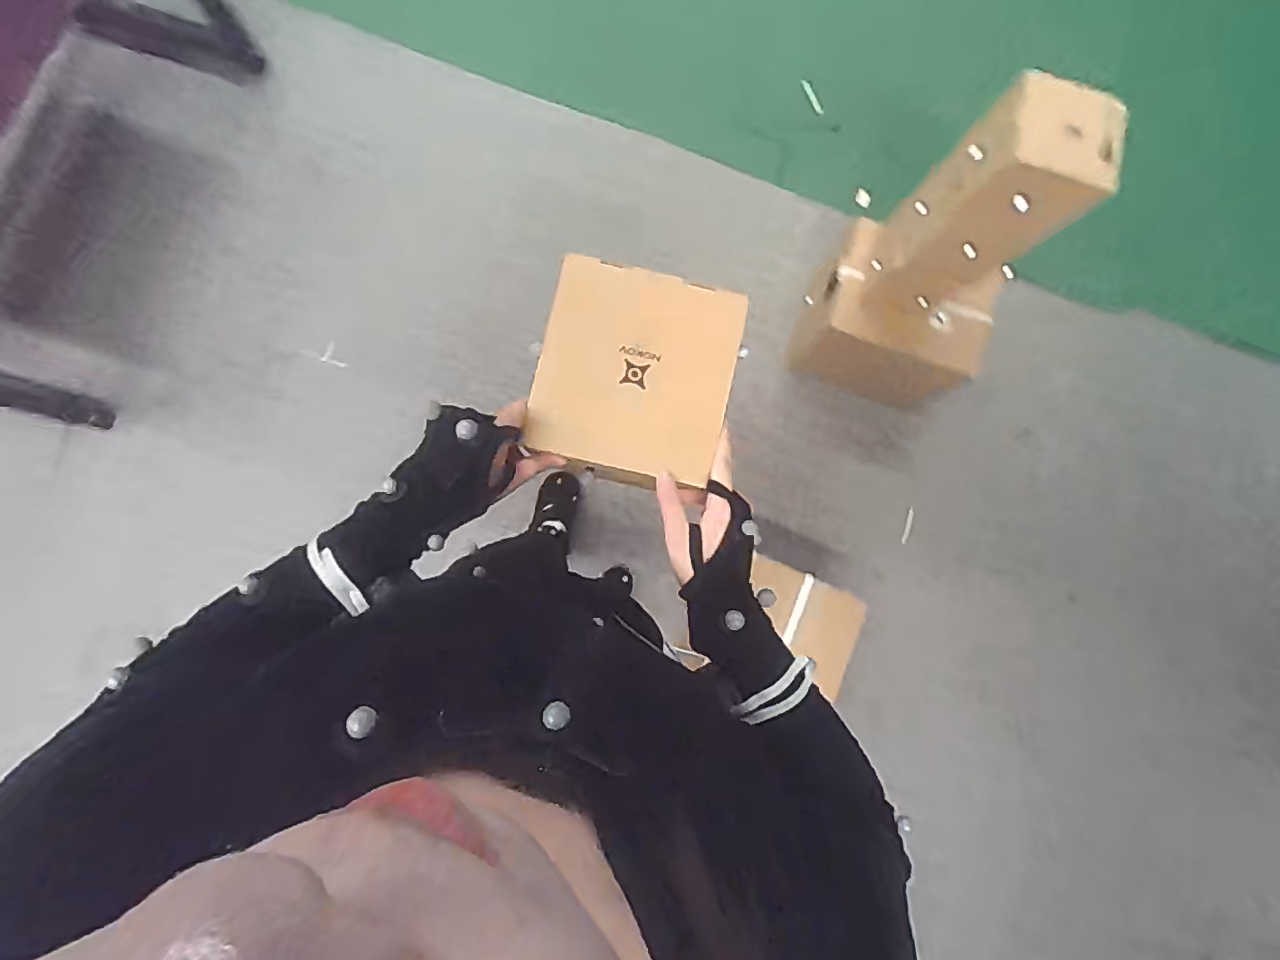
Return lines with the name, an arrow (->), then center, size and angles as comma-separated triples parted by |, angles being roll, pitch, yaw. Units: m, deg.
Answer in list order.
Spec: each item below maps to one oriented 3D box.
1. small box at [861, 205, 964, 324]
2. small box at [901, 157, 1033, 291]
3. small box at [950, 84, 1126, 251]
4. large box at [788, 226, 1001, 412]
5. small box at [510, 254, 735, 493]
small box -> 0.646, -0.494, 1.267 | 0.168, 0.176, 0.179 | 18, 81, -3
small box -> 0.667, -0.511, 1.105 | 0.179, 0.176, 0.168 | 14, 83, -4
small box -> 0.681, -0.530, 0.942 | 0.179, 0.176, 0.168 | 16, 82, -3
large box -> 0.685, -0.426, 1.509 | 0.408, 0.320, 0.320 | 19, 82, -3
small box -> -0.017, -0.088, 0.542 | 0.168, 0.176, 0.179 | 12, 84, -2
